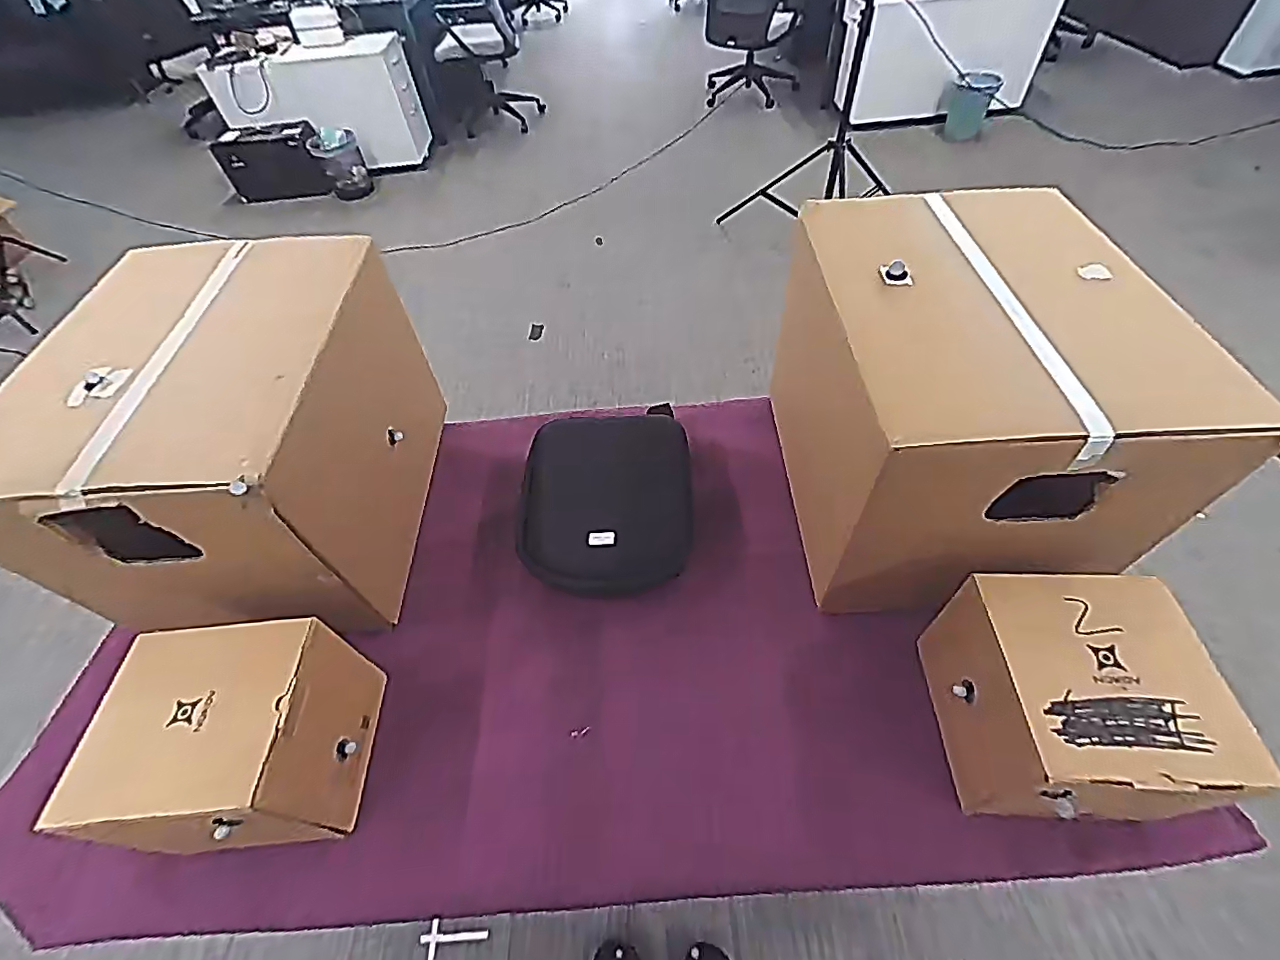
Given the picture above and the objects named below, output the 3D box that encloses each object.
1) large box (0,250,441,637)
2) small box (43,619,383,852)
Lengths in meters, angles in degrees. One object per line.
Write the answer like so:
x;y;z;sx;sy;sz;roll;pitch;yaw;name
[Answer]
-0.477;-0.041;0.698;0.320;0.320;0.408;-5;54;-1;large box
-0.394;0.260;0.543;0.179;0.176;0.168;-6;50;-1;small box
